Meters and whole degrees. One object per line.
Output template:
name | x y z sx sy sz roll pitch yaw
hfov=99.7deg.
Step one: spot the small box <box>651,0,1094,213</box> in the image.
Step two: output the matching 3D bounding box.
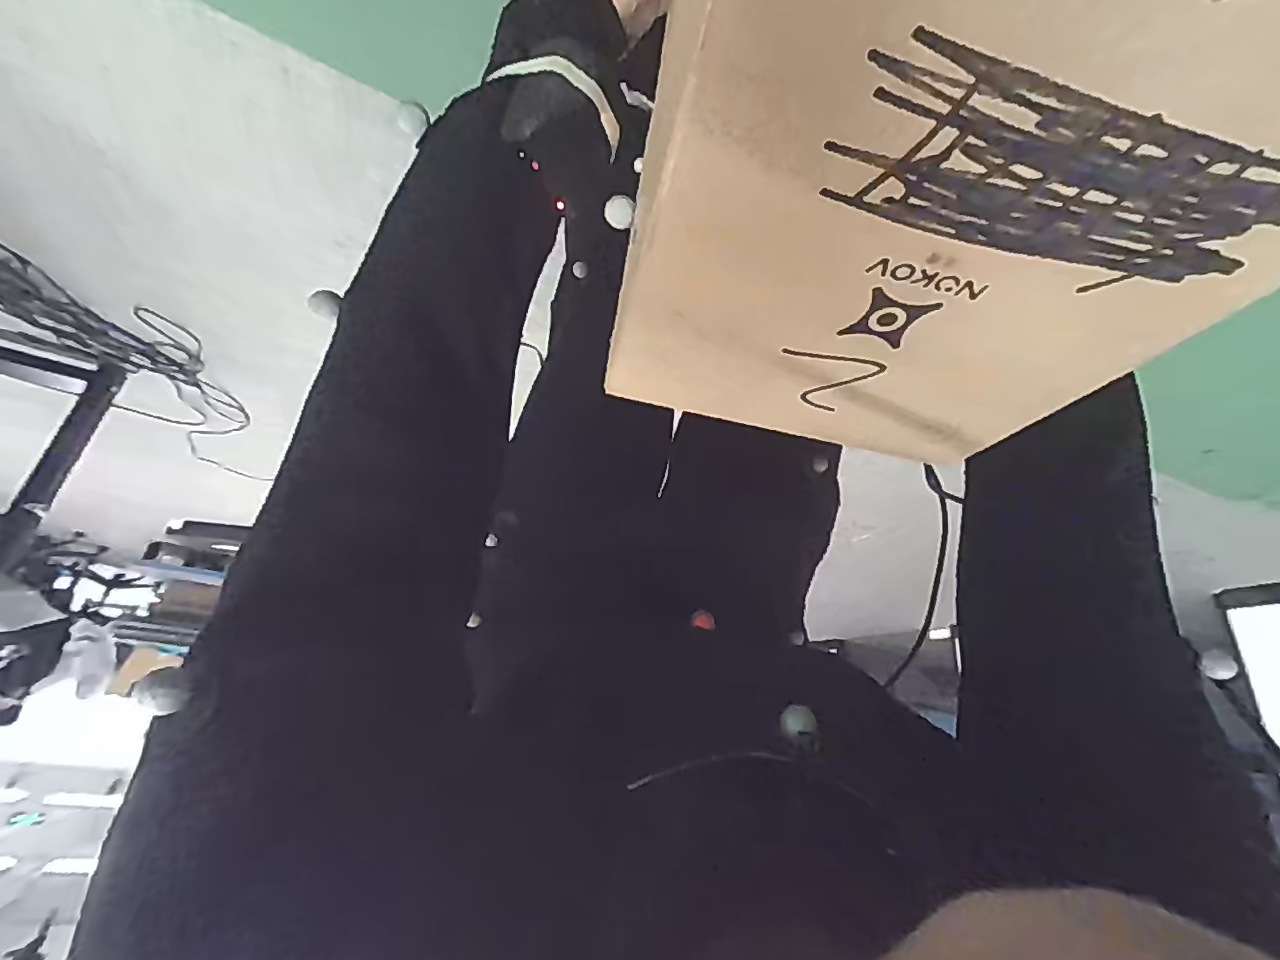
small box | 0.111 -0.276 0.260 0.168 0.176 0.179 11 155 -8
